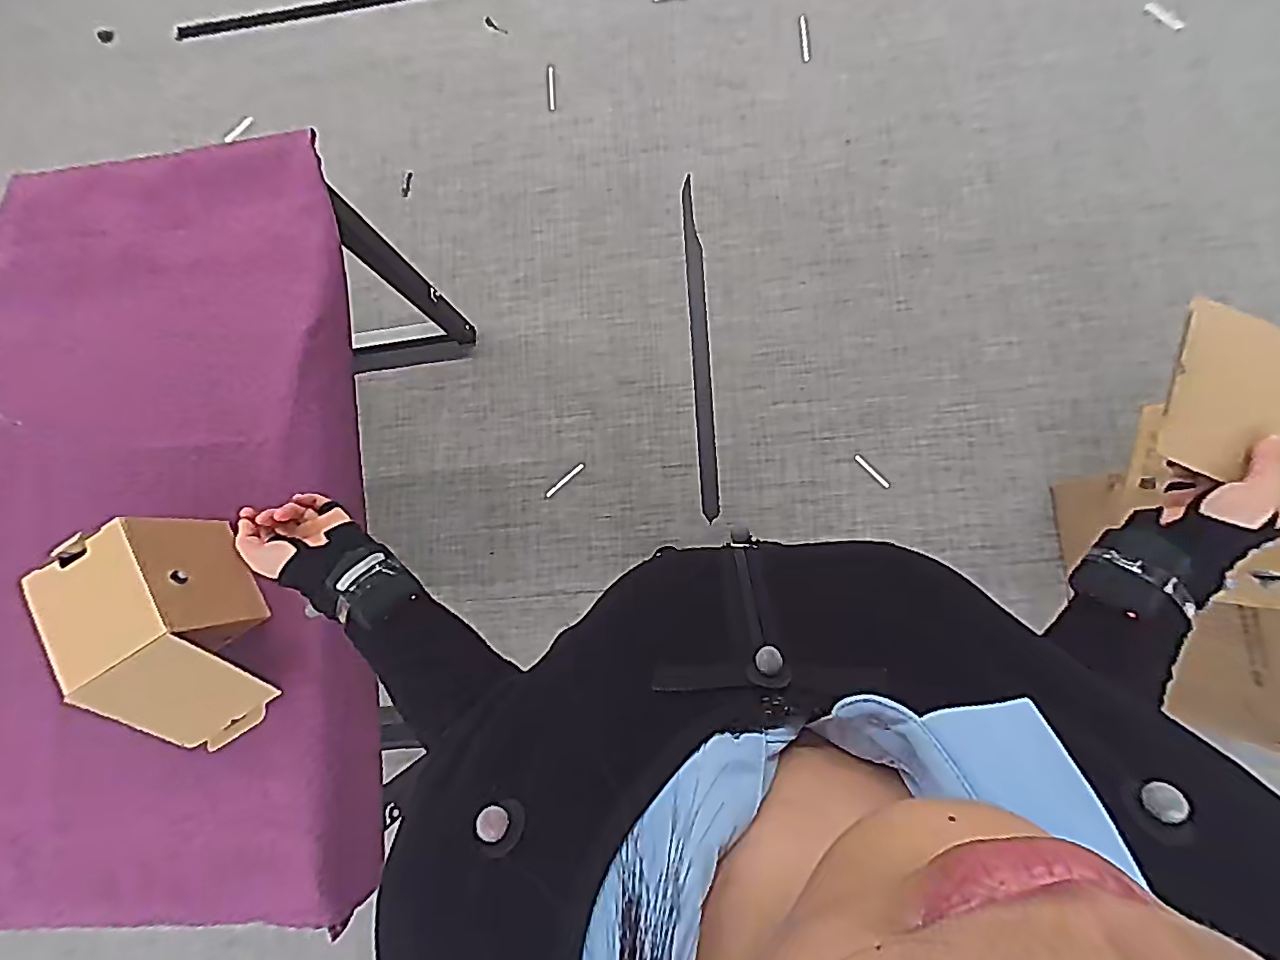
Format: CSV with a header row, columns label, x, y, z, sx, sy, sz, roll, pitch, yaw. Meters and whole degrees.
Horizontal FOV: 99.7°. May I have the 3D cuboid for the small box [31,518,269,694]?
label,x,y,z,sx,sy,sz,roll,pitch,yaw
small box,-0.689,0.171,0.781,0.168,0.176,0.179,-32,80,2
